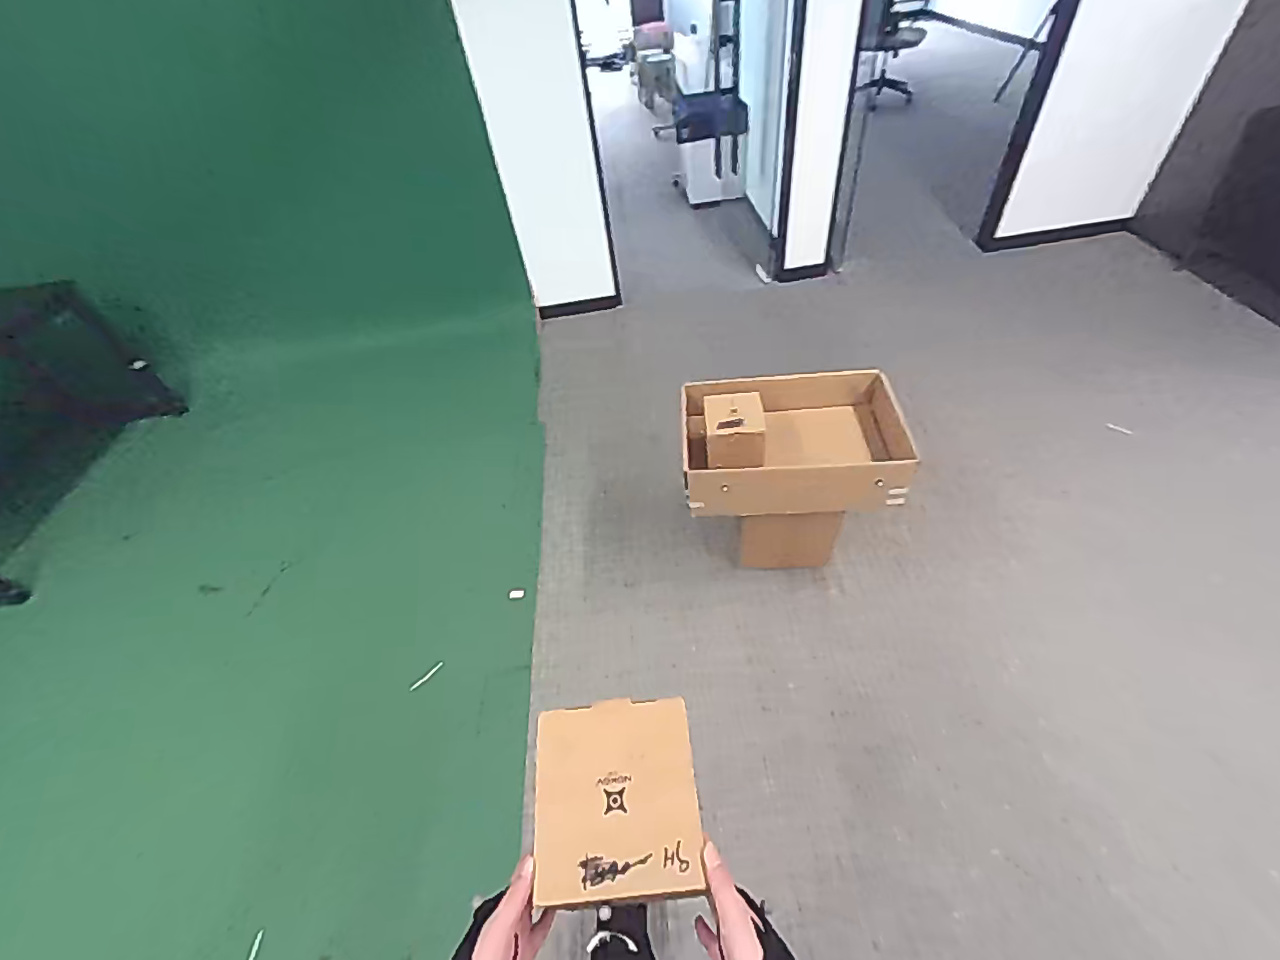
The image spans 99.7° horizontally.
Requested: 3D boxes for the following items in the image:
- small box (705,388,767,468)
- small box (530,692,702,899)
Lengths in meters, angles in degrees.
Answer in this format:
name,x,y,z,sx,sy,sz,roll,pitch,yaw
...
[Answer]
name,x,y,z,sx,sy,sz,roll,pitch,yaw
small box,0.284,-0.149,1.603,0.168,0.176,0.179,-4,47,7
small box,-0.022,0.366,0.625,0.168,0.176,0.179,-6,50,2
